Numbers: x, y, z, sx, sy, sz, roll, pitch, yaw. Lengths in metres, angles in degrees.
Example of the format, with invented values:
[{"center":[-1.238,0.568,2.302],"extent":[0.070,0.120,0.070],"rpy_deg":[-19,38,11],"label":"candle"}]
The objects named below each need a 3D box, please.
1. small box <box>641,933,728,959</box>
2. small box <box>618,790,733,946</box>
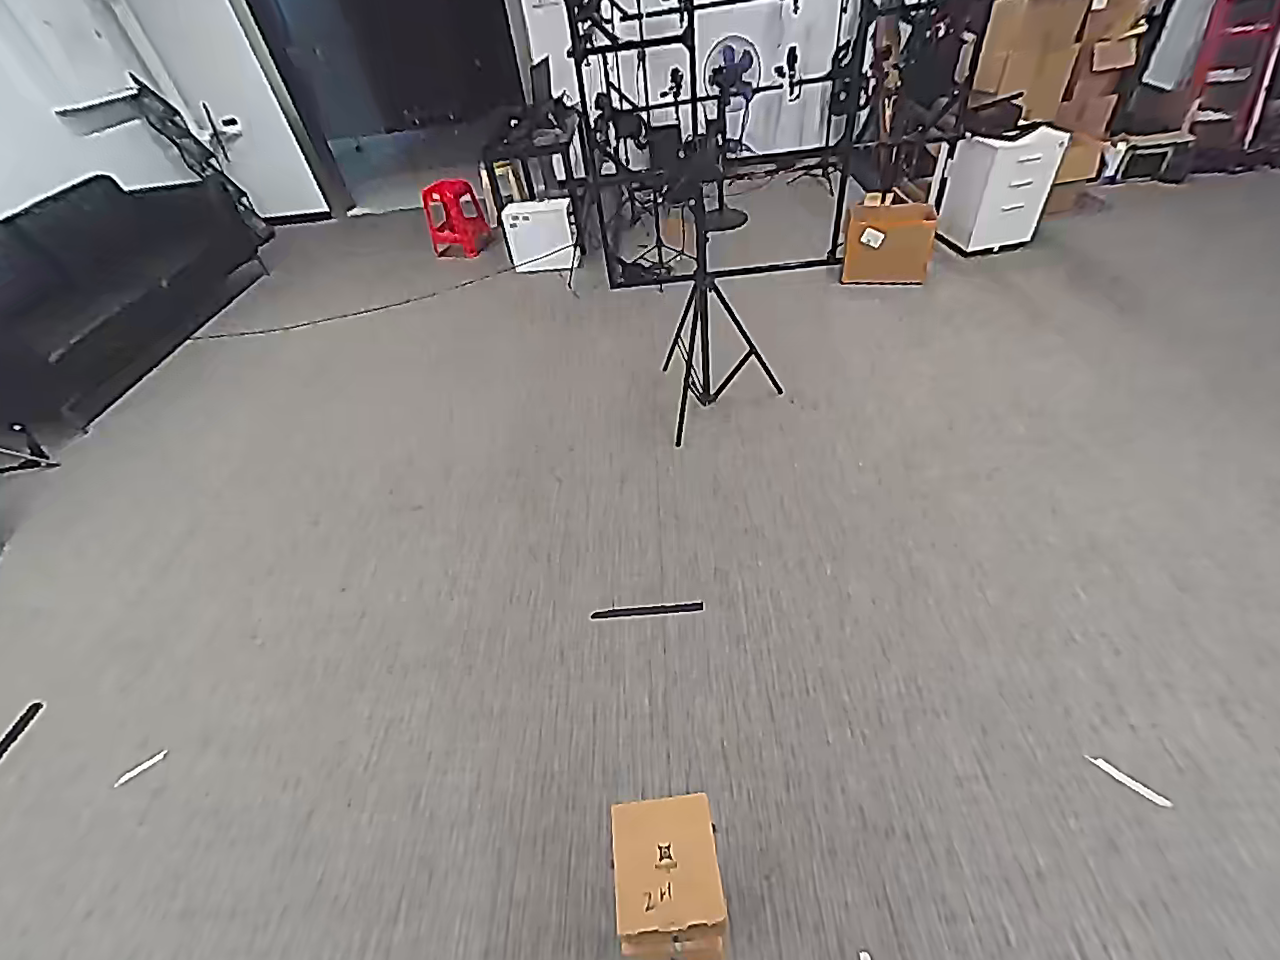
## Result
[{"center":[0.089,0.892,1.129],"extent":[0.168,0.176,0.179],"rpy_deg":[-6,44,3],"label":"small box"},{"center":[0.057,0.650,0.908],"extent":[0.168,0.176,0.179],"rpy_deg":[-9,44,1],"label":"small box"}]
